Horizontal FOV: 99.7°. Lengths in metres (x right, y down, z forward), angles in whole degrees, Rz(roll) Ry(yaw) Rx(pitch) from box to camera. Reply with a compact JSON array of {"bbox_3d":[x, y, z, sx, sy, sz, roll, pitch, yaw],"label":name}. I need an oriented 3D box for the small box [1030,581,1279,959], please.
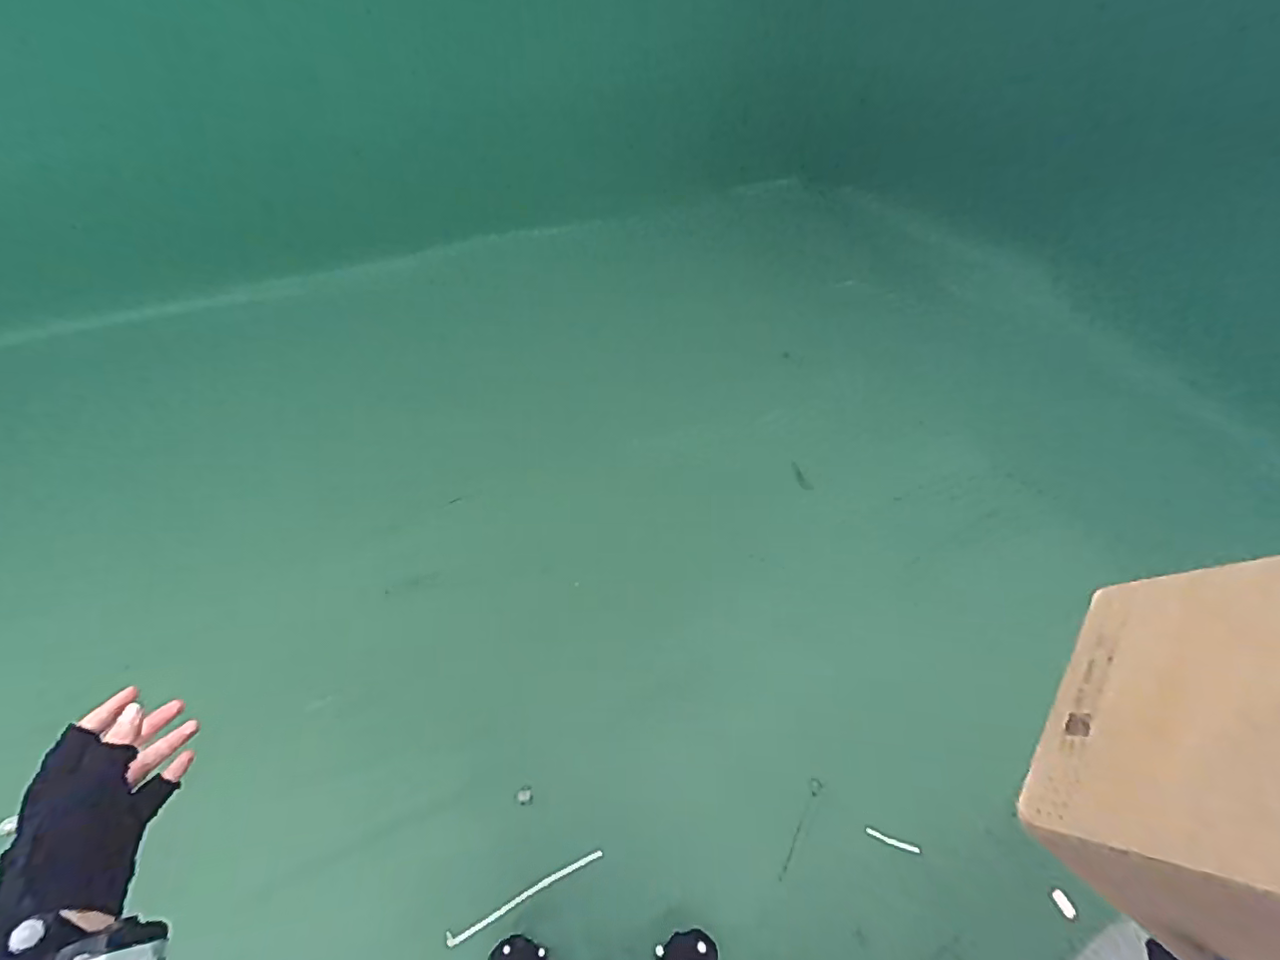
[{"bbox_3d":[0.332,0.153,0.235,0.179,0.176,0.168,40,67,4],"label":"small box"}]
